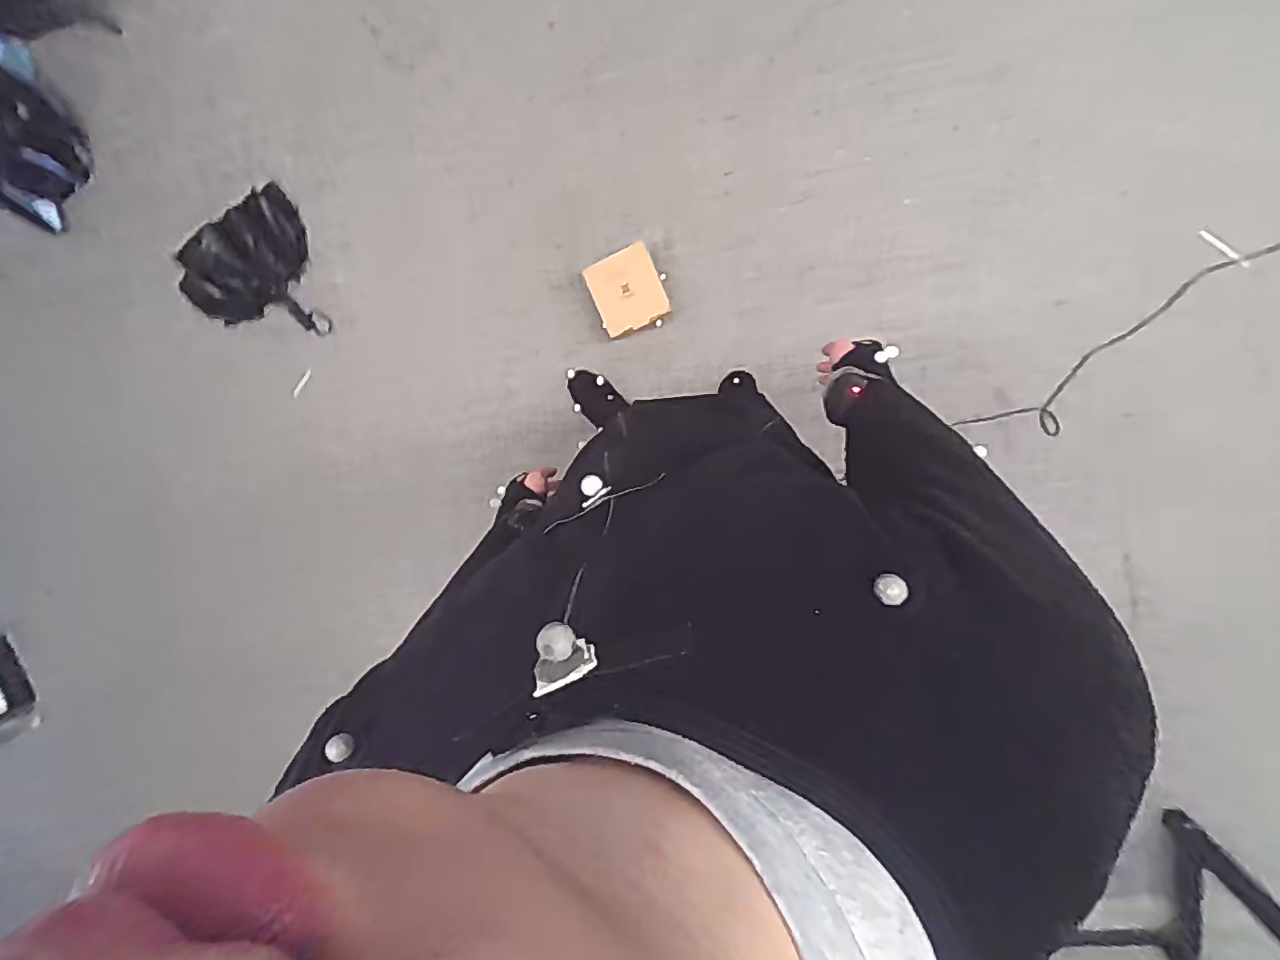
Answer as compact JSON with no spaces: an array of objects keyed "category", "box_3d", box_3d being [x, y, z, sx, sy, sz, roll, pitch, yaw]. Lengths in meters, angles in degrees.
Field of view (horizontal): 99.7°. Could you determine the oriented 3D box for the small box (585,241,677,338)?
[{"category":"small box","box_3d":[-0.014,-0.475,1.373,0.168,0.176,0.179,-23,99,12]}]
